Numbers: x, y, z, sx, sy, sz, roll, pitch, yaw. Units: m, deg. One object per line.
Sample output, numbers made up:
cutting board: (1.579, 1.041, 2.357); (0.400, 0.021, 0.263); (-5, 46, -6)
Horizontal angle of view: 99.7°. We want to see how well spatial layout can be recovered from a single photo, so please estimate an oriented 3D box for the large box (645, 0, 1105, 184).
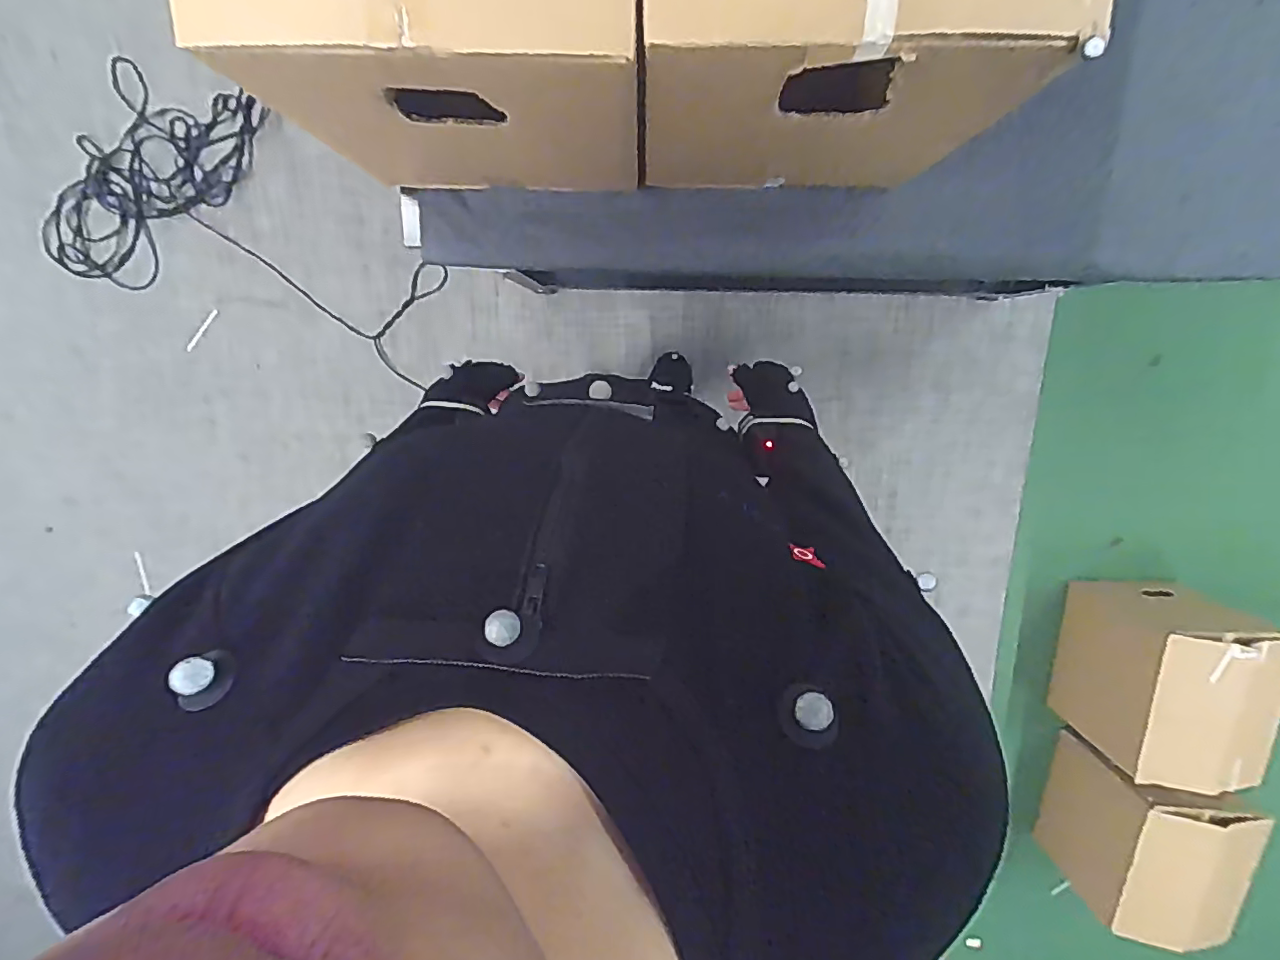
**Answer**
large box: (0.159, -0.521, 0.470); (0.320, 0.320, 0.408); (0, 104, 2)
